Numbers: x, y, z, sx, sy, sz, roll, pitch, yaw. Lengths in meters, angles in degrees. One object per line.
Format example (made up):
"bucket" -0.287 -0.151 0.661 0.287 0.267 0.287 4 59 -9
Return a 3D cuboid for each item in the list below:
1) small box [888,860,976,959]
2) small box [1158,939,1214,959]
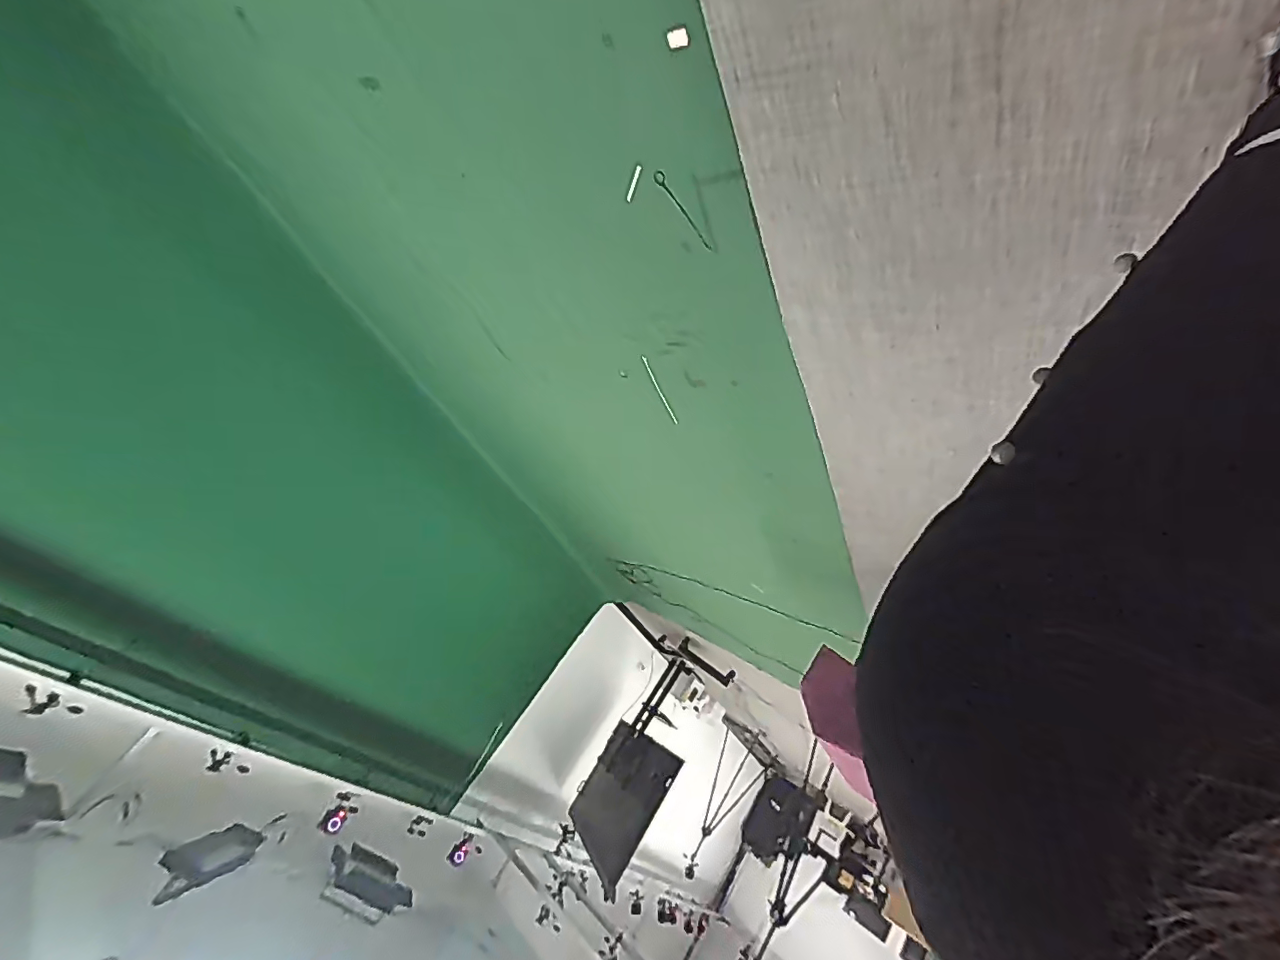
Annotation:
"small box" 0.823 1.212 1.514 0.168 0.176 0.179 13 148 44
"small box" 1.283 1.188 1.220 0.168 0.176 0.179 16 149 43
